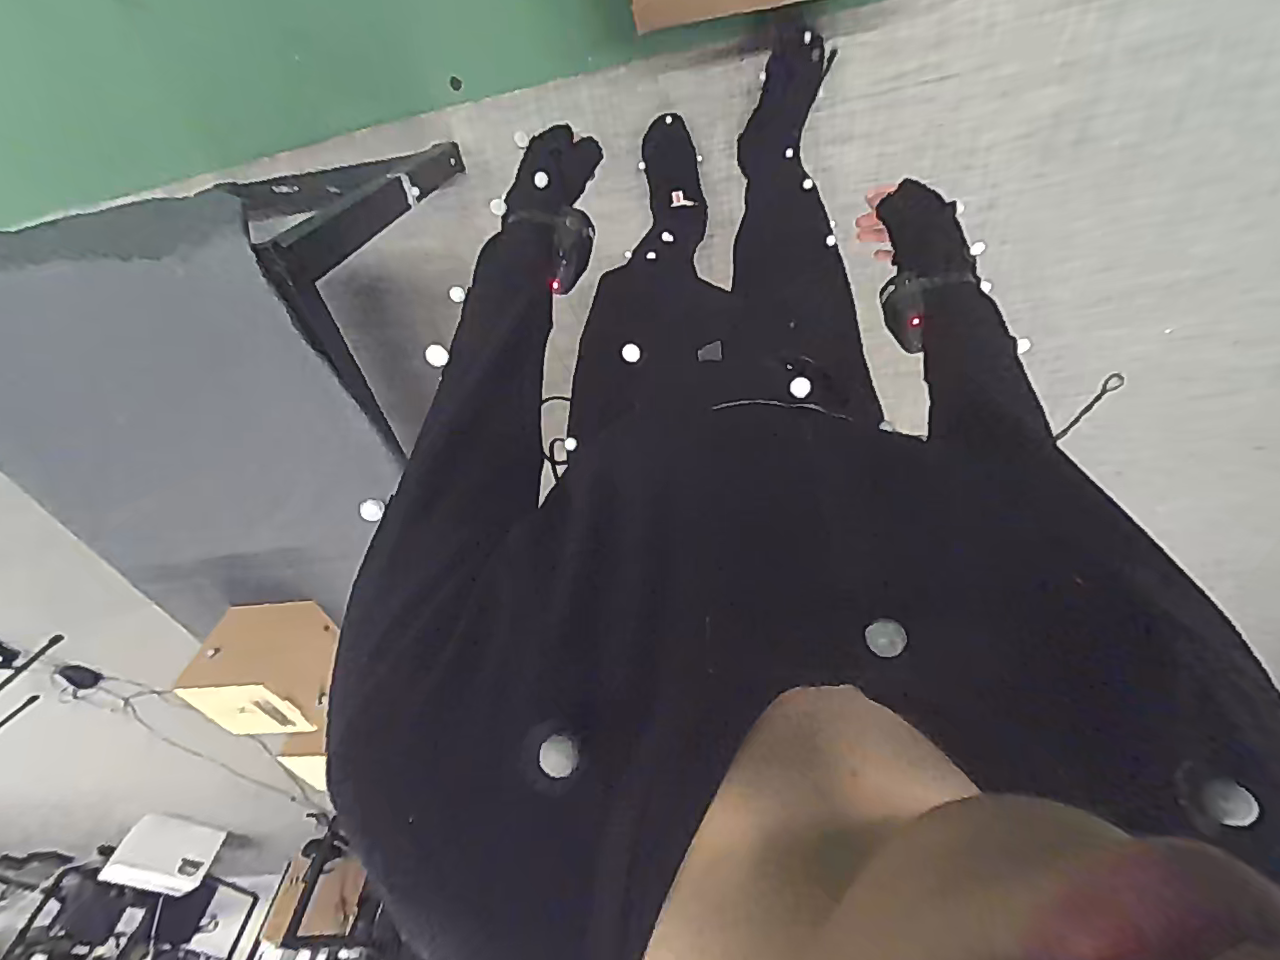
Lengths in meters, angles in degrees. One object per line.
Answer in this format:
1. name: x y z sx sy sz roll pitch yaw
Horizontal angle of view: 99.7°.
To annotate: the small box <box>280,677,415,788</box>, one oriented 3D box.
1. small box: -0.608 0.538 1.158 0.179 0.176 0.168 -5 129 7
